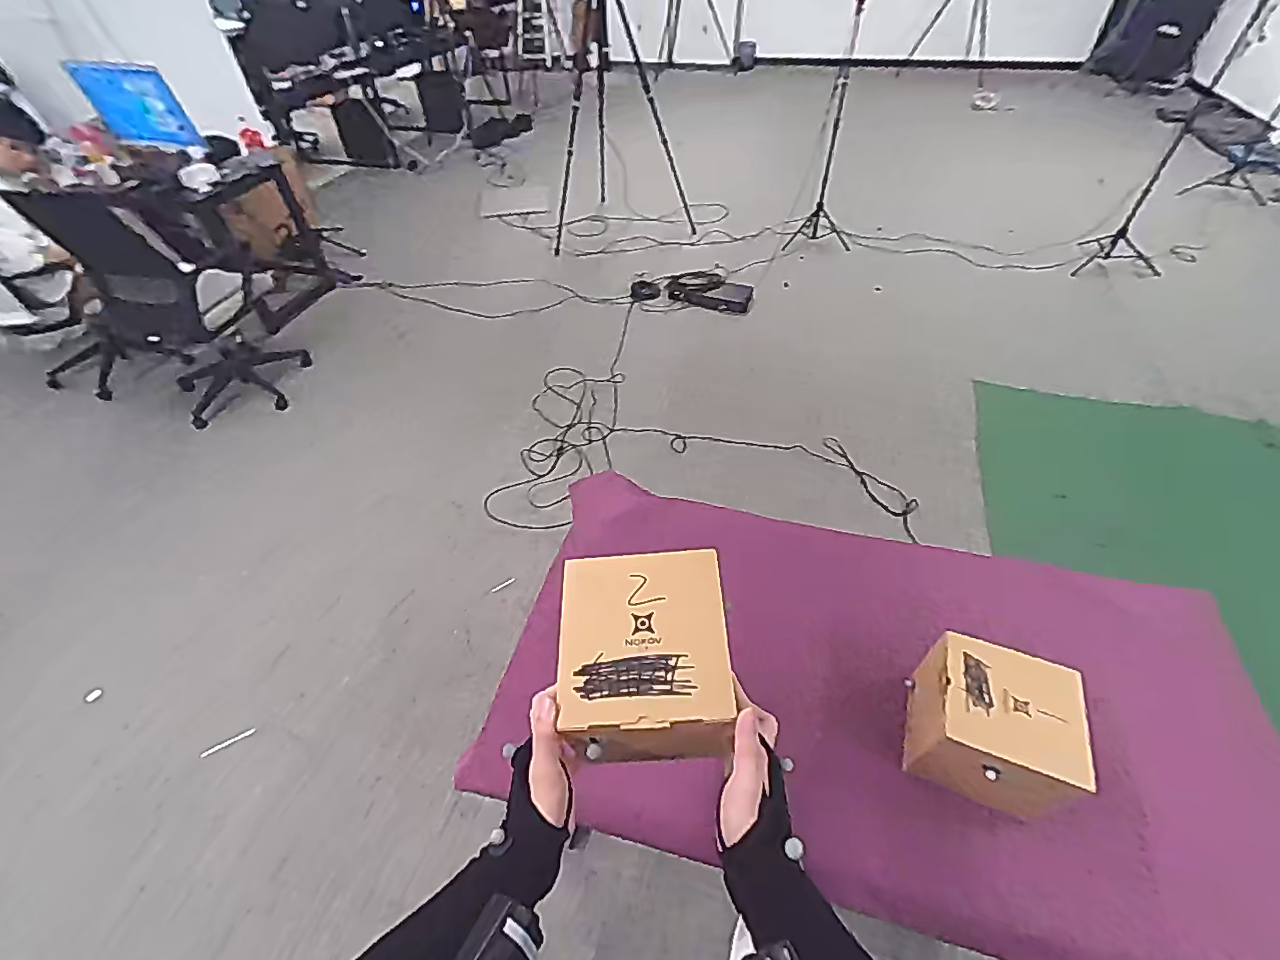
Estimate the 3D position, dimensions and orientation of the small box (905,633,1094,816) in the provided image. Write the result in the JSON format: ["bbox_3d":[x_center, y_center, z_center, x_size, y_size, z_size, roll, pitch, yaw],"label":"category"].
[{"bbox_3d":[0.507,0.359,0.789,0.179,0.176,0.168,17,50,16],"label":"small box"}]
